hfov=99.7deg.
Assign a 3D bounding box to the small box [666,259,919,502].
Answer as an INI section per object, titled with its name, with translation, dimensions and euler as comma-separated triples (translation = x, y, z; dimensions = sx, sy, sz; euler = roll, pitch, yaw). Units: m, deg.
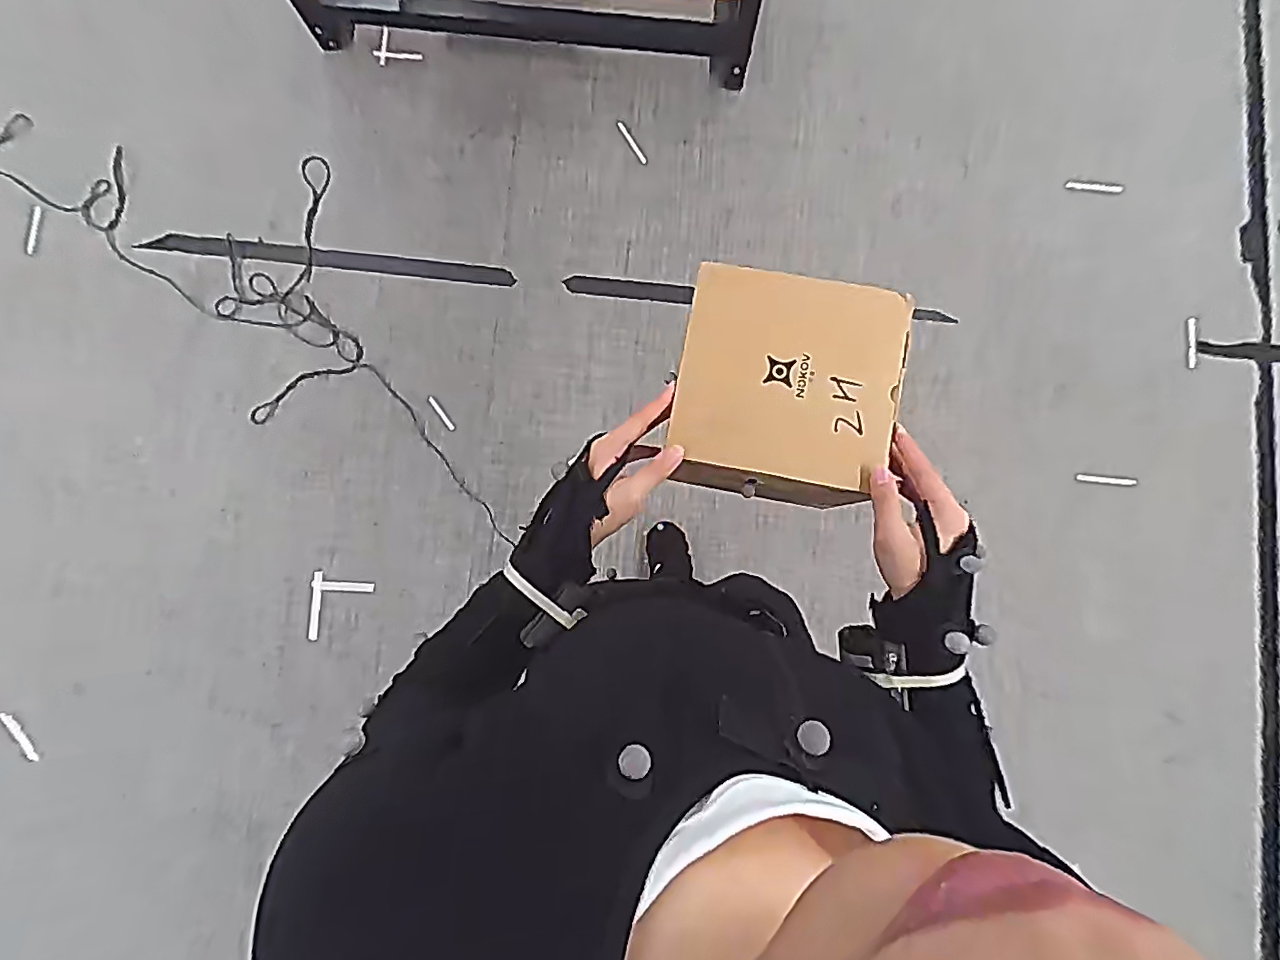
[small box]
translation = 0.124, -0.076, 0.504
dimensions = 0.179, 0.176, 0.168
euler = 11, 85, 3
